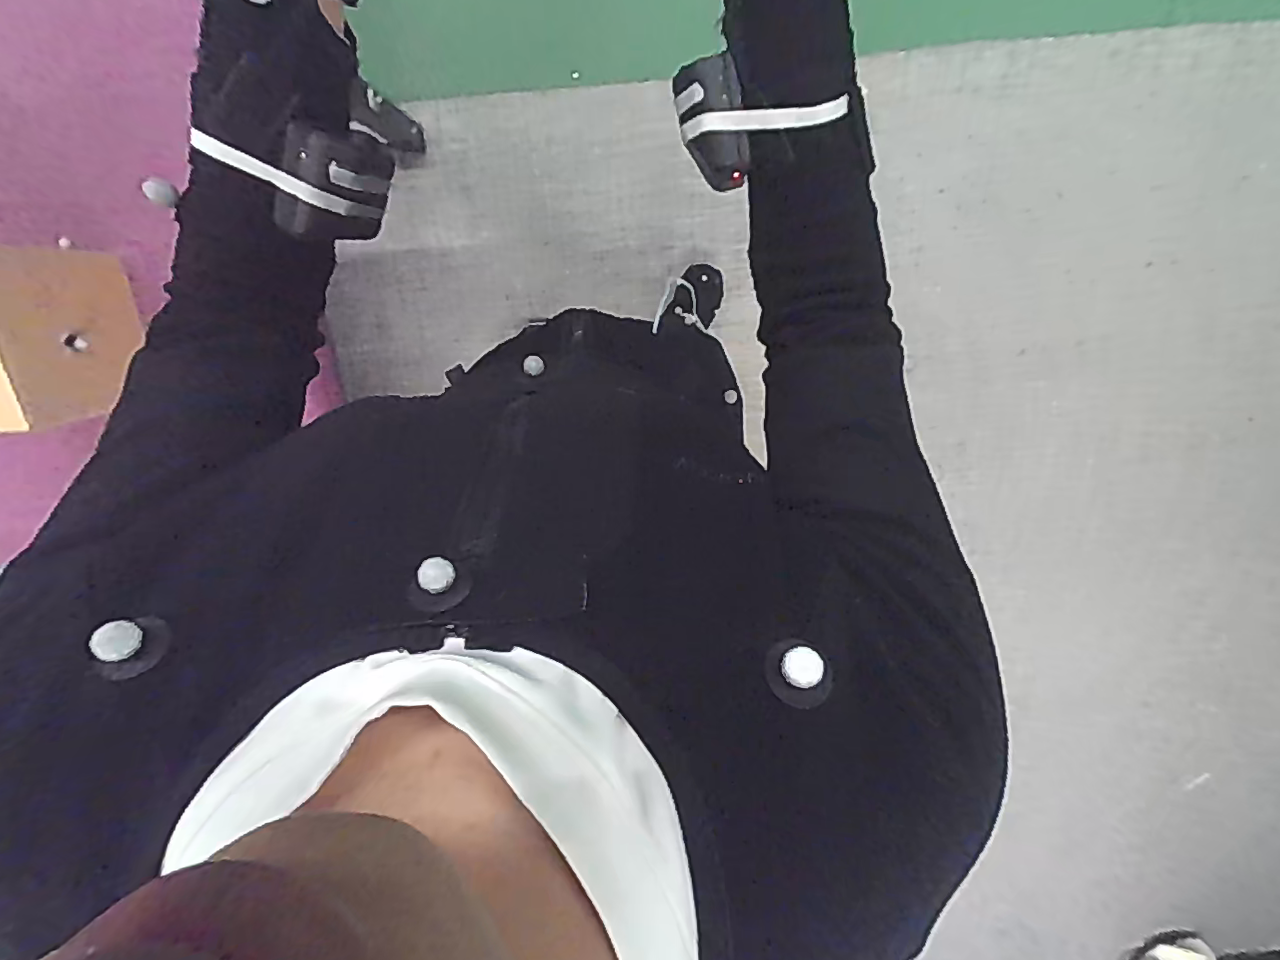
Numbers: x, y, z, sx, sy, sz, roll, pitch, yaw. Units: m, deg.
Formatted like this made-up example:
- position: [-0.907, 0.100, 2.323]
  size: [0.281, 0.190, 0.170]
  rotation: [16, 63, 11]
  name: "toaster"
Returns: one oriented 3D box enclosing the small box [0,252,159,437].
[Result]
- position: [-0.688, -0.154, 0.589]
  size: [0.168, 0.176, 0.179]
  rotation: [3, 109, 0]
  name: "small box"
